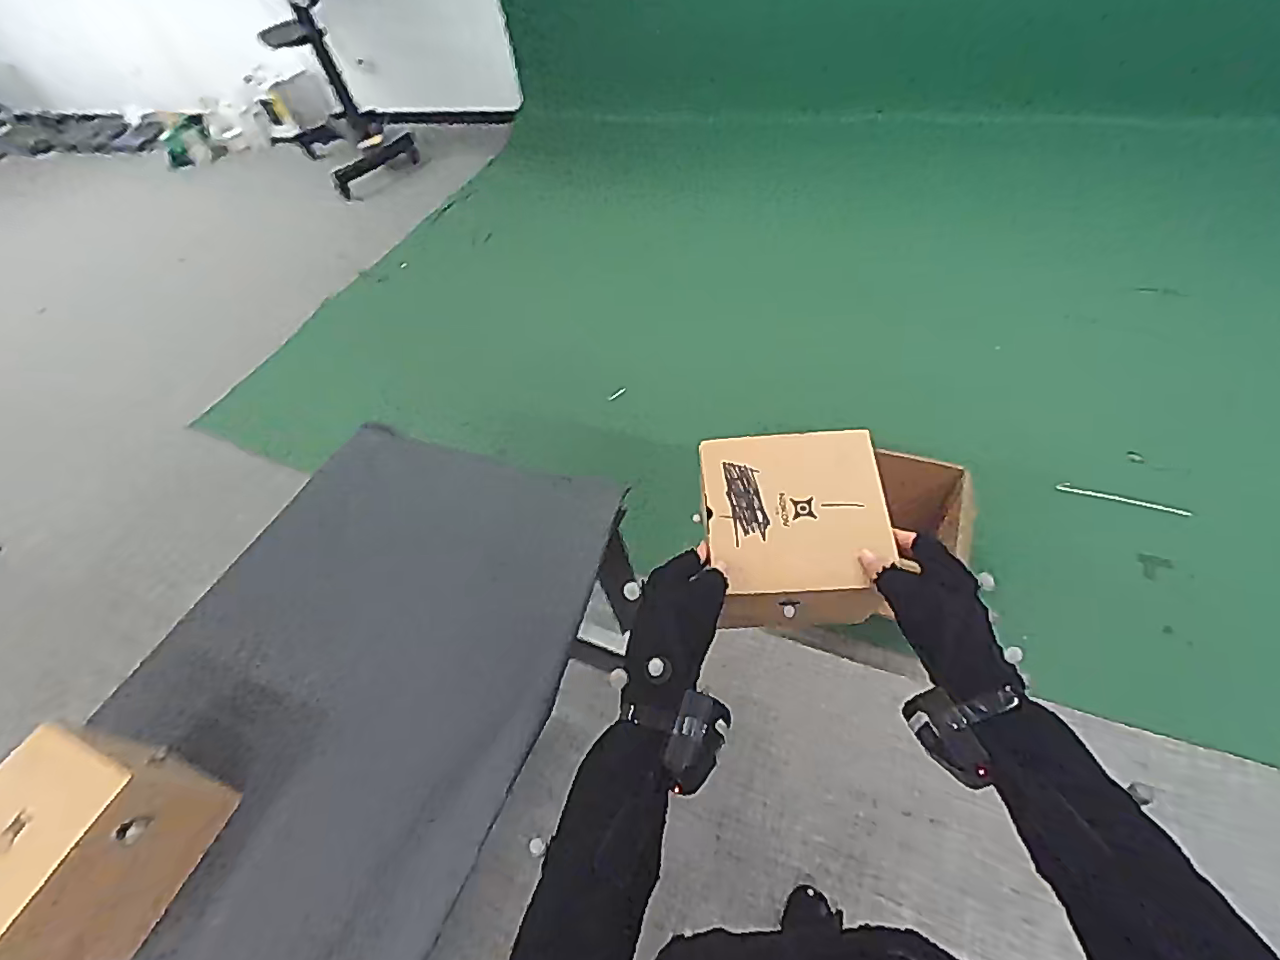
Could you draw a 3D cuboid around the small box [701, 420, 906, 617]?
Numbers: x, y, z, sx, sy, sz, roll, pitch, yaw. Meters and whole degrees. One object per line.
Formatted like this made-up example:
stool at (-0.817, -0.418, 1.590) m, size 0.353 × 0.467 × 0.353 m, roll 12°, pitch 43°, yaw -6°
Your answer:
small box at (0.162, 0.052, 0.596) m, size 0.179 × 0.176 × 0.168 m, roll -4°, pitch 65°, yaw 6°
